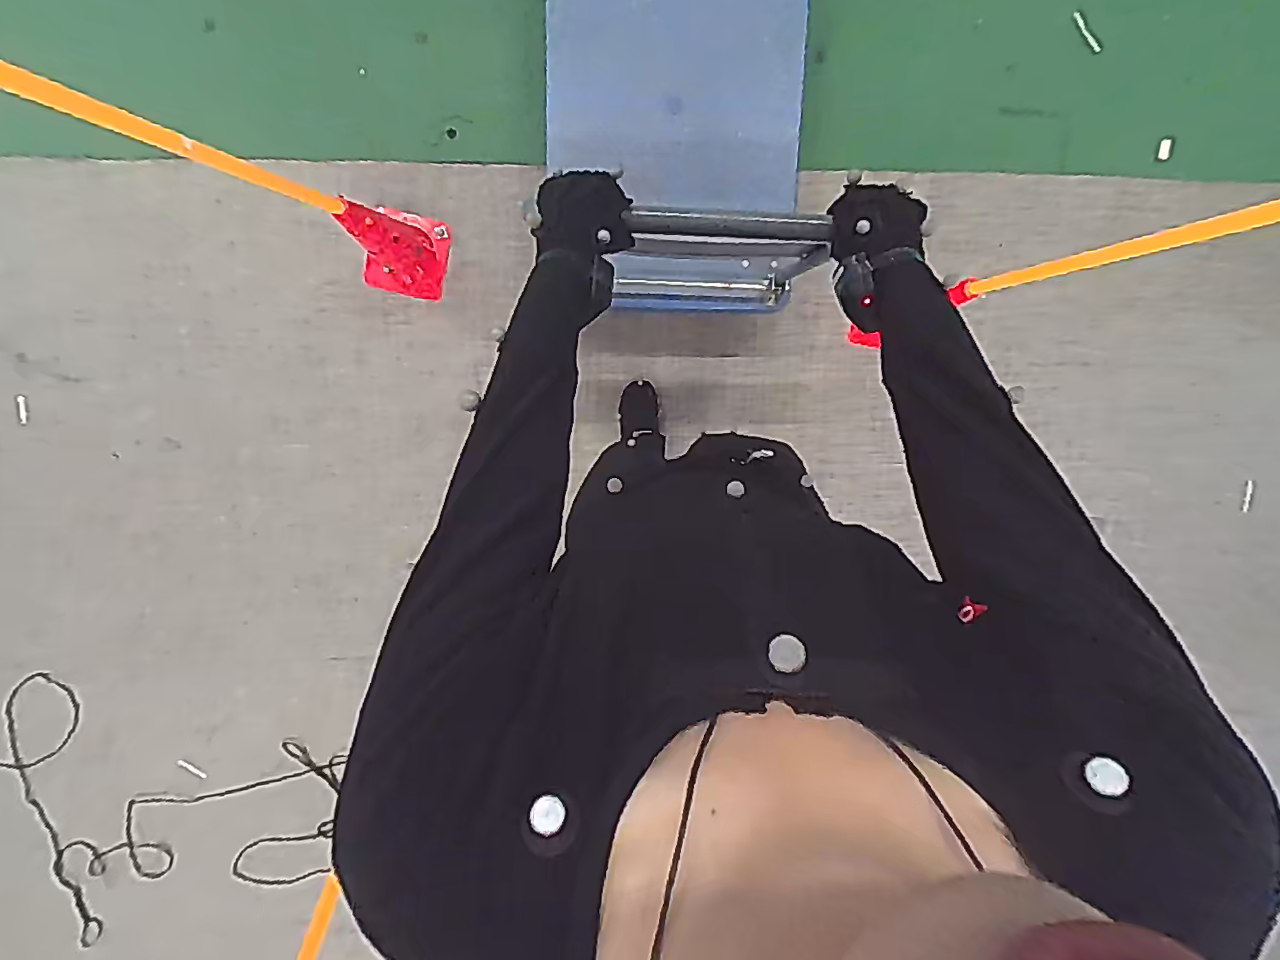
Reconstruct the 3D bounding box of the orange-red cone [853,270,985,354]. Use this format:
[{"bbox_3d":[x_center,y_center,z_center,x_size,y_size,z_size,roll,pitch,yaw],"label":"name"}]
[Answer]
[{"bbox_3d":[0.696,-0.428,1.297,0.198,0.360,0.199,10,99,-4],"label":"orange-red cone"}]
